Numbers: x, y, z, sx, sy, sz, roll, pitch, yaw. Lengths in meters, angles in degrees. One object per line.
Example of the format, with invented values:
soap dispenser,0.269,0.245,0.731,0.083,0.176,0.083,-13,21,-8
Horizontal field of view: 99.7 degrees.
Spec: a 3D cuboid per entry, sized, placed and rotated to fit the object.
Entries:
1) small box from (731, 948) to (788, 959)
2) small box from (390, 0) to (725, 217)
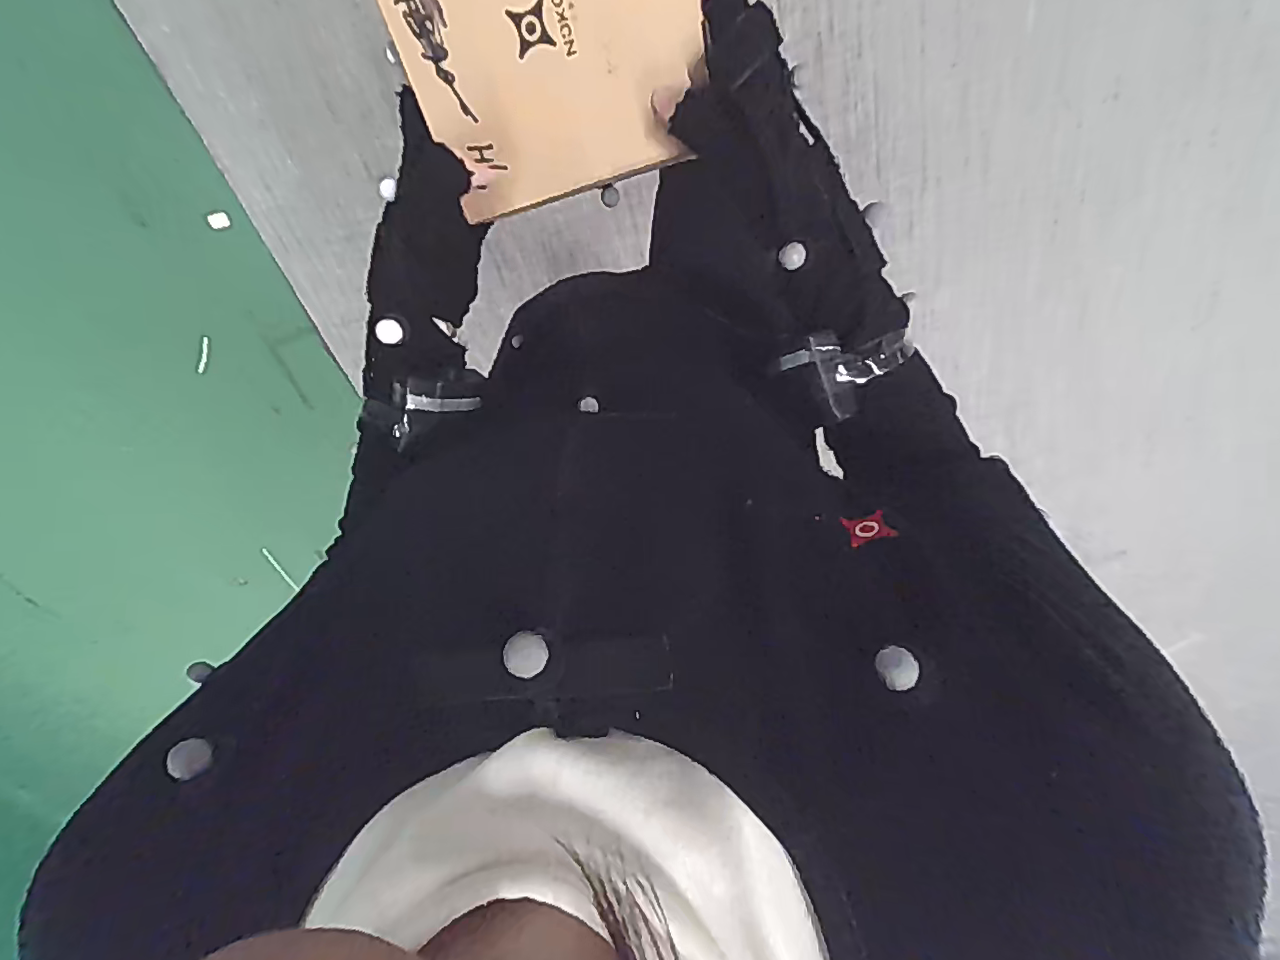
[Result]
small box,0.385,1.599,1.694,0.179,0.176,0.168,-14,125,13
small box,-0.050,-0.301,0.382,0.179,0.176,0.168,-13,118,8
